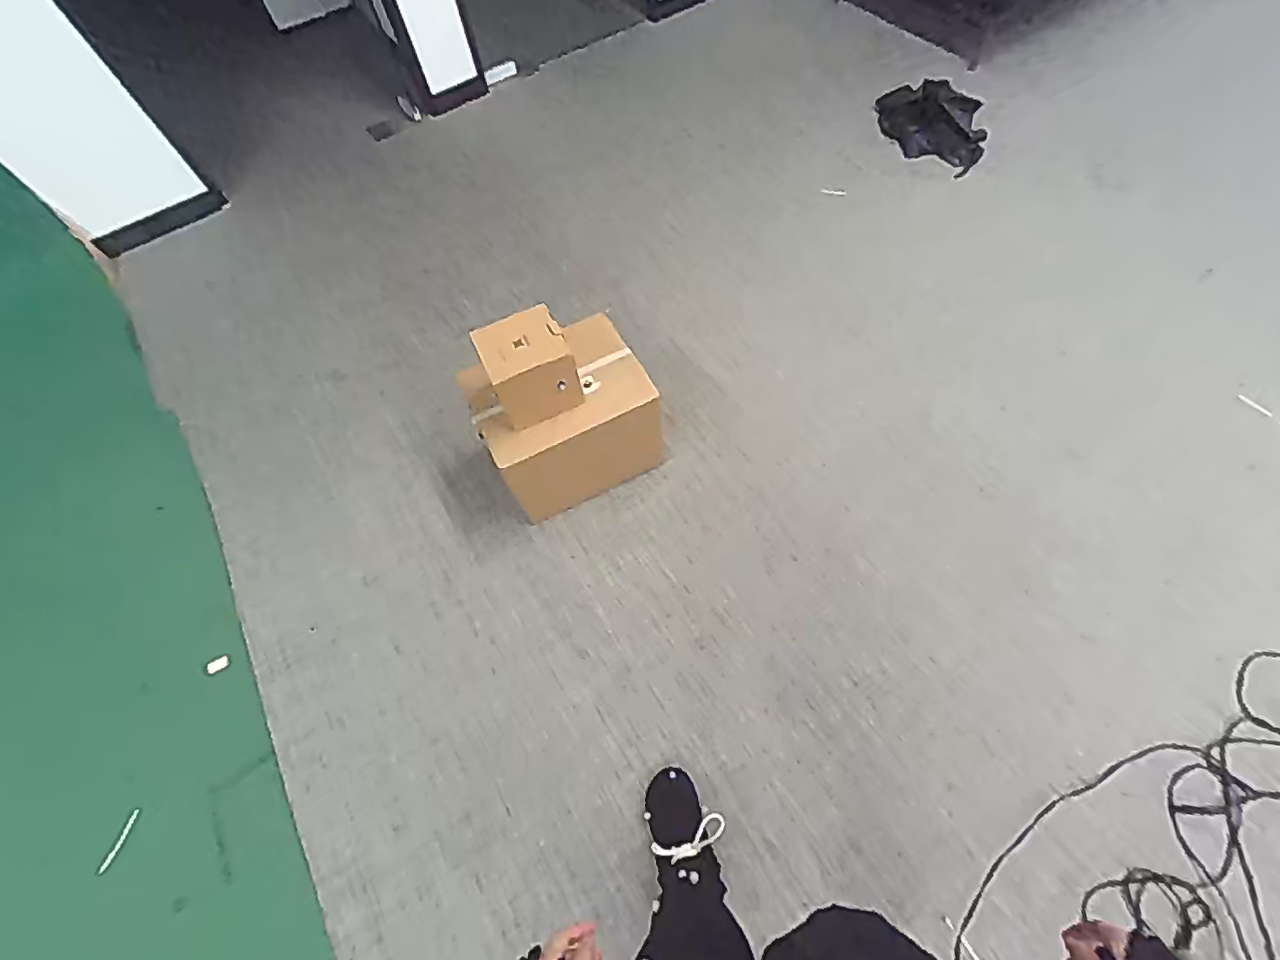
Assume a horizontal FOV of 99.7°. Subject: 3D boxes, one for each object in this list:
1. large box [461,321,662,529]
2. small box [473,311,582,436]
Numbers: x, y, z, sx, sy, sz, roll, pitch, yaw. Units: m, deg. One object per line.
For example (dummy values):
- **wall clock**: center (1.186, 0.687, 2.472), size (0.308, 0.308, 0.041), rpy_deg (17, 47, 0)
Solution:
- **large box**: center (-0.187, -0.136, 1.411), size (0.408, 0.320, 0.320), rpy_deg (-26, 63, -11)
- **small box**: center (-0.238, -0.230, 1.189), size (0.179, 0.176, 0.168), rpy_deg (-26, 61, -8)
